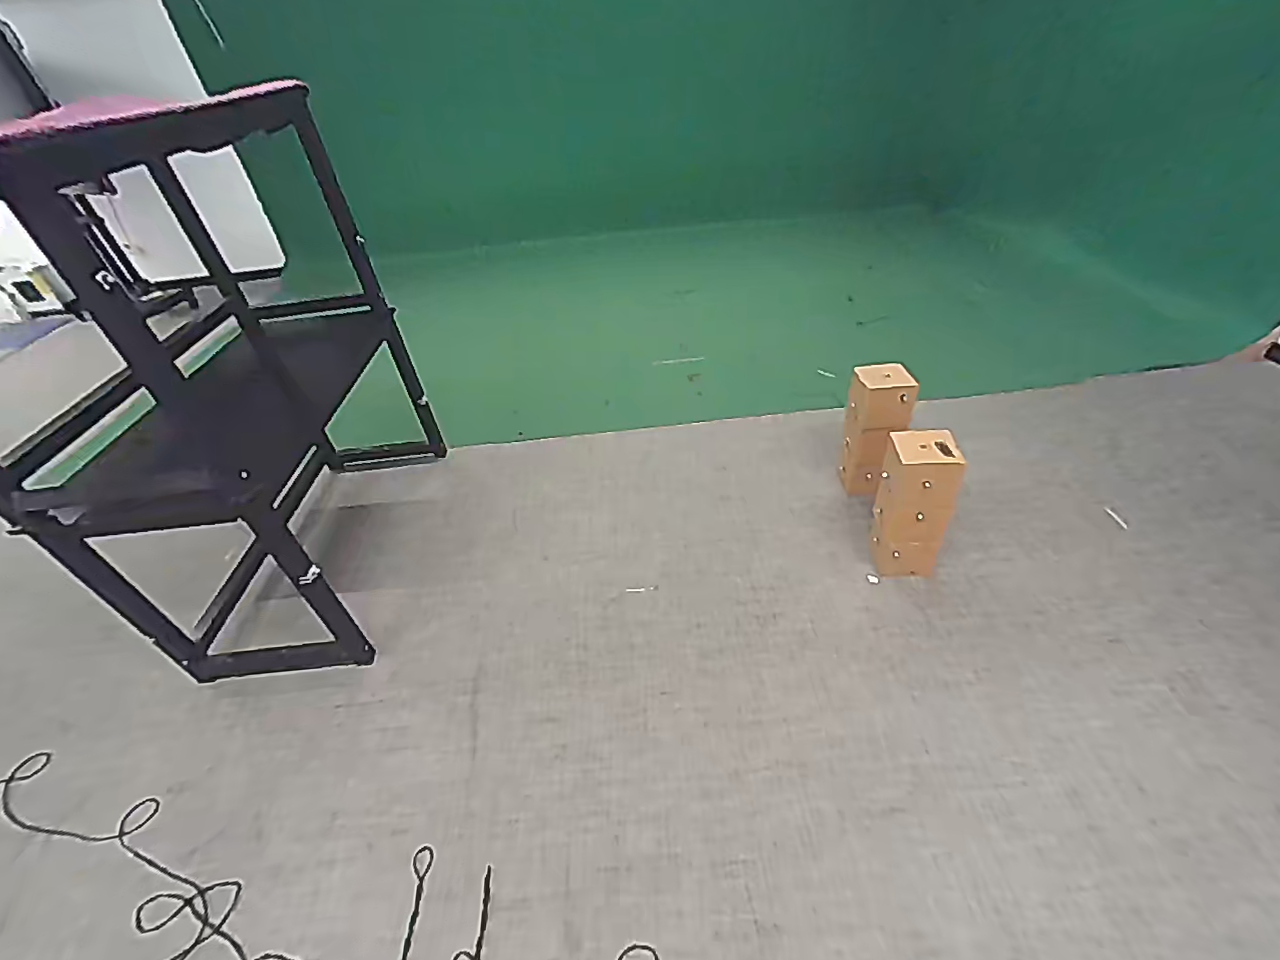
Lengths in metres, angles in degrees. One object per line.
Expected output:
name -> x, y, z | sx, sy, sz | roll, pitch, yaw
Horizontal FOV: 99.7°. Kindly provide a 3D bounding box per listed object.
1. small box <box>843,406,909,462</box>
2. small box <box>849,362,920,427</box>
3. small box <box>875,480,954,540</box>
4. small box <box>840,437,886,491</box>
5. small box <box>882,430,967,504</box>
small box -> 0.907, -0.189, 2.089 | 0.179, 0.176, 0.168 | -6, 39, 3
small box -> 0.888, -0.312, 1.981 | 0.179, 0.176, 0.168 | -5, 39, 2
small box -> 0.892, 0.085, 1.773 | 0.179, 0.176, 0.168 | -1, 41, 8
small box -> 0.923, -0.069, 2.197 | 0.179, 0.176, 0.168 | -4, 41, 5
small box -> 0.868, -0.038, 1.667 | 0.179, 0.176, 0.168 | -1, 41, 10
